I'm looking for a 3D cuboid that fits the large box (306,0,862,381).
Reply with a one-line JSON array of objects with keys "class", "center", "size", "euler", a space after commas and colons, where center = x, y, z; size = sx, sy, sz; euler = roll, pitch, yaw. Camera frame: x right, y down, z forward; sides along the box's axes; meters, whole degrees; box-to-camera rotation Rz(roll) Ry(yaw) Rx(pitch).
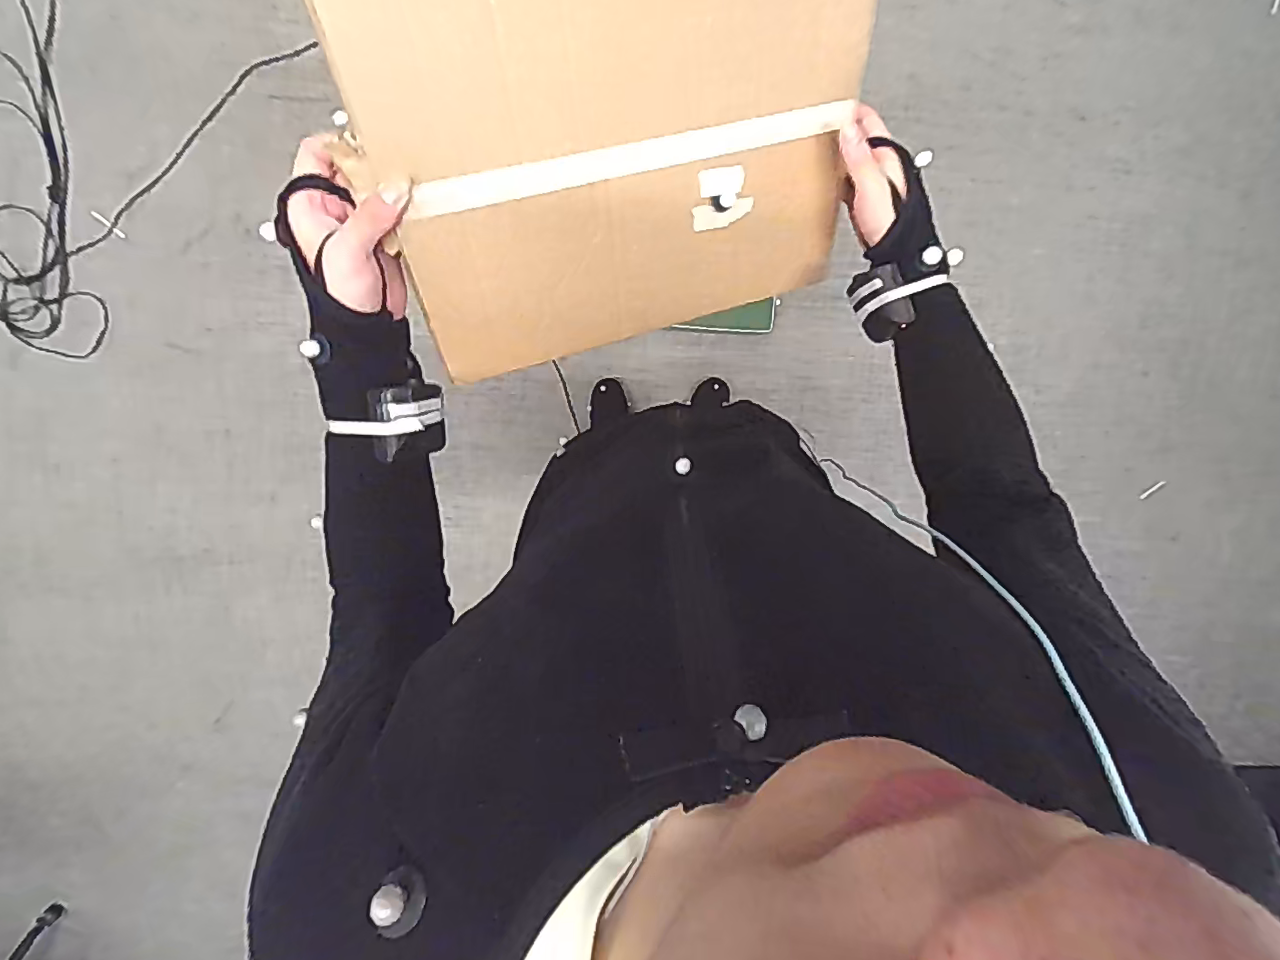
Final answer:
[{"class": "large box", "center": [-0.059, -0.353, 0.540], "size": [0.408, 0.320, 0.320], "euler": [-19, 136, -14]}]
